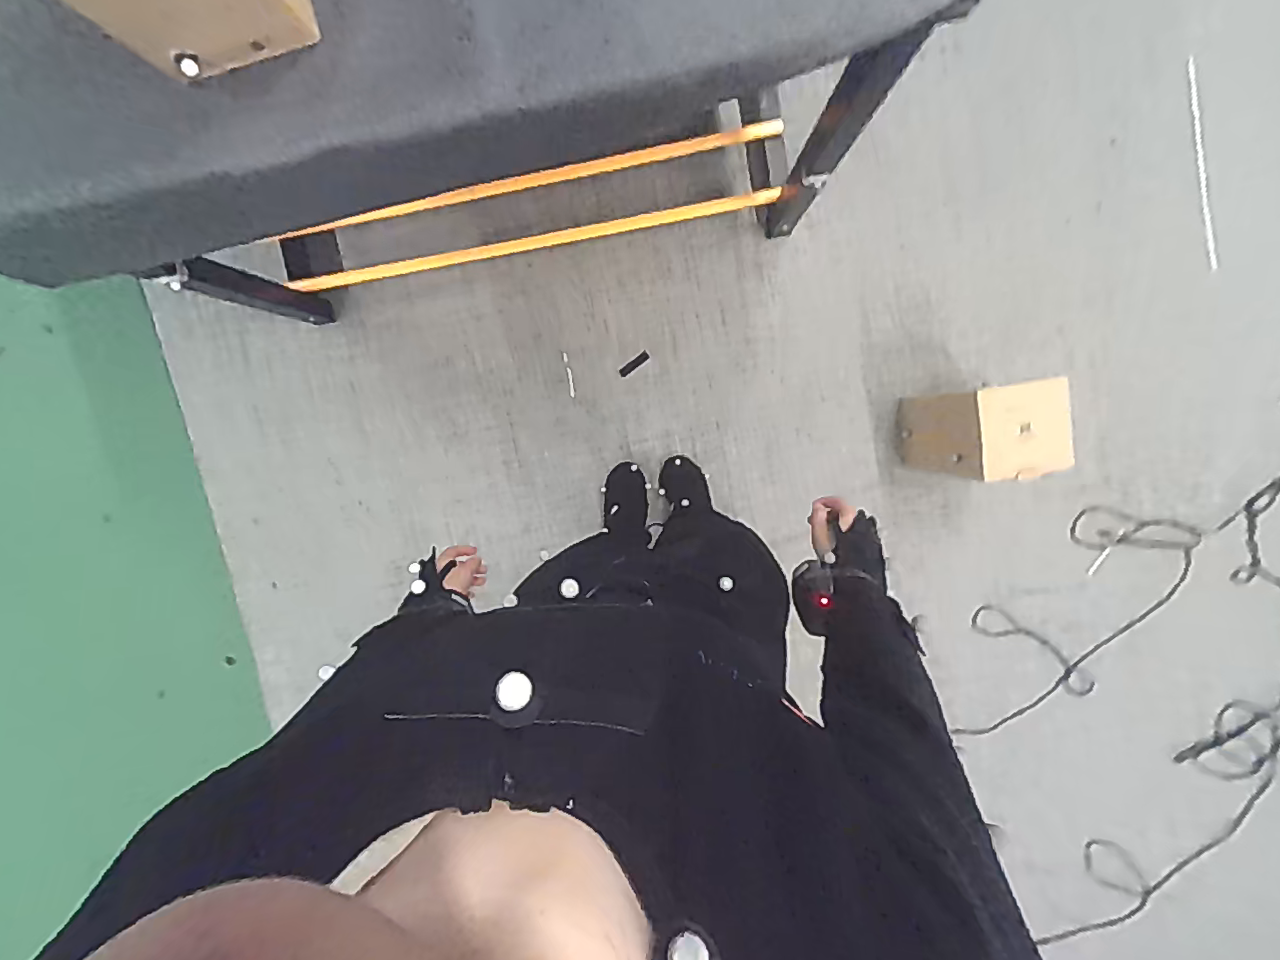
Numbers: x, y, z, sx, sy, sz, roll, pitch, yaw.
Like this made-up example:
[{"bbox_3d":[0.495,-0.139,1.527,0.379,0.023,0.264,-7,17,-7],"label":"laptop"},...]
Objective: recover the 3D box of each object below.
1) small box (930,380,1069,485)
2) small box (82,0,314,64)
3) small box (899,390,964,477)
[{"bbox_3d":[0.703,-0.096,1.073,0.168,0.176,0.179,-9,95,2],"label":"small box"},{"bbox_3d":[-0.440,-0.528,0.494,0.168,0.176,0.179,-14,95,3],"label":"small box"},{"bbox_3d":[0.713,-0.112,1.235,0.168,0.176,0.179,-7,98,2],"label":"small box"}]
